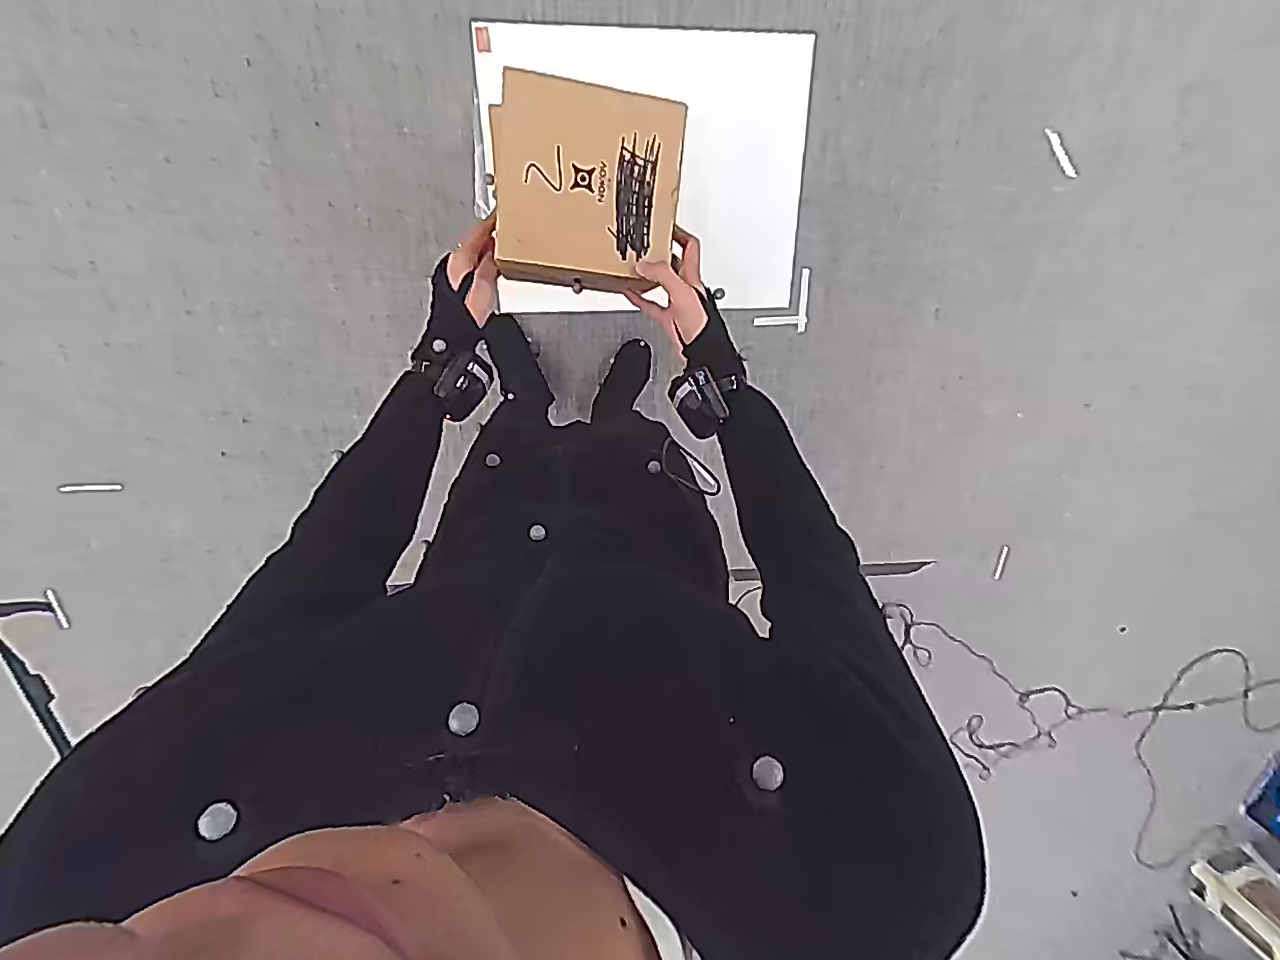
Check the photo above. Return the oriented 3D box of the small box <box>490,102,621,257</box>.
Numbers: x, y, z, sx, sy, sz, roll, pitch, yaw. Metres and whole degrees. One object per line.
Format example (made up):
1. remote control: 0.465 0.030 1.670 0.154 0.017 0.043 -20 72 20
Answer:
1. small box: -0.116 -0.419 0.779 0.168 0.176 0.179 -2 113 -7
